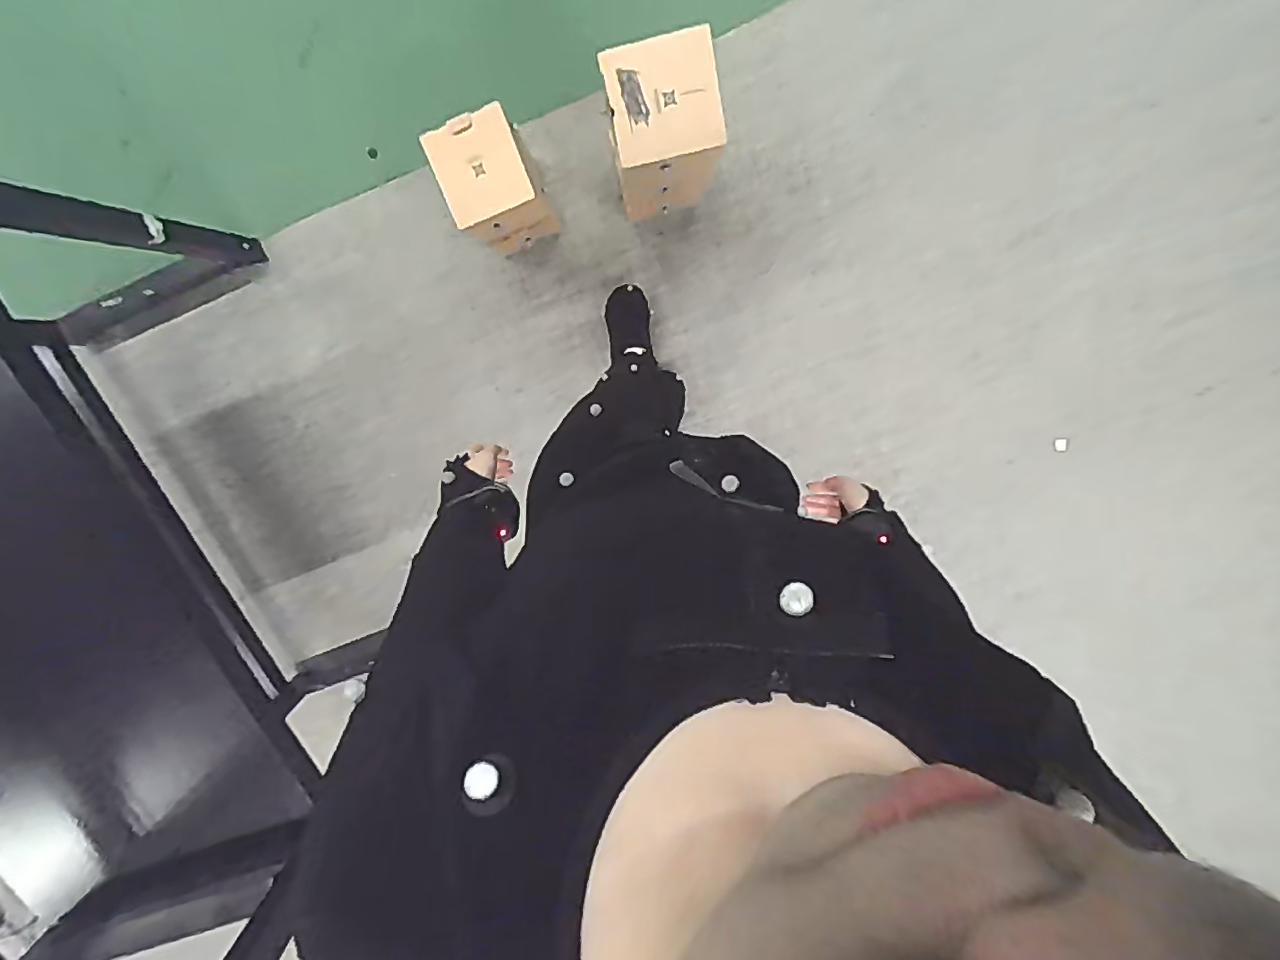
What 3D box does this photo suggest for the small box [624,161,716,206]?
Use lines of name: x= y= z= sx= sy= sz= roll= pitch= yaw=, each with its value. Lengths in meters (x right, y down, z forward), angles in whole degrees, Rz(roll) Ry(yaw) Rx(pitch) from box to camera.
small box: x=0.045 y=-0.654 z=1.060 sx=0.179 sy=0.176 sz=0.168 roll=-10 pitch=106 yaw=3

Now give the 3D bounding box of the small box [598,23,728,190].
small box: x=0.038 y=-0.606 z=0.903 sx=0.179 sy=0.176 sz=0.168 roll=-12 pitch=106 yaw=3

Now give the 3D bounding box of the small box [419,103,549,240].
small box: x=-0.298 y=-0.598 z=1.080 sx=0.168 sy=0.176 sz=0.179 roll=-21 pitch=103 yaw=7
